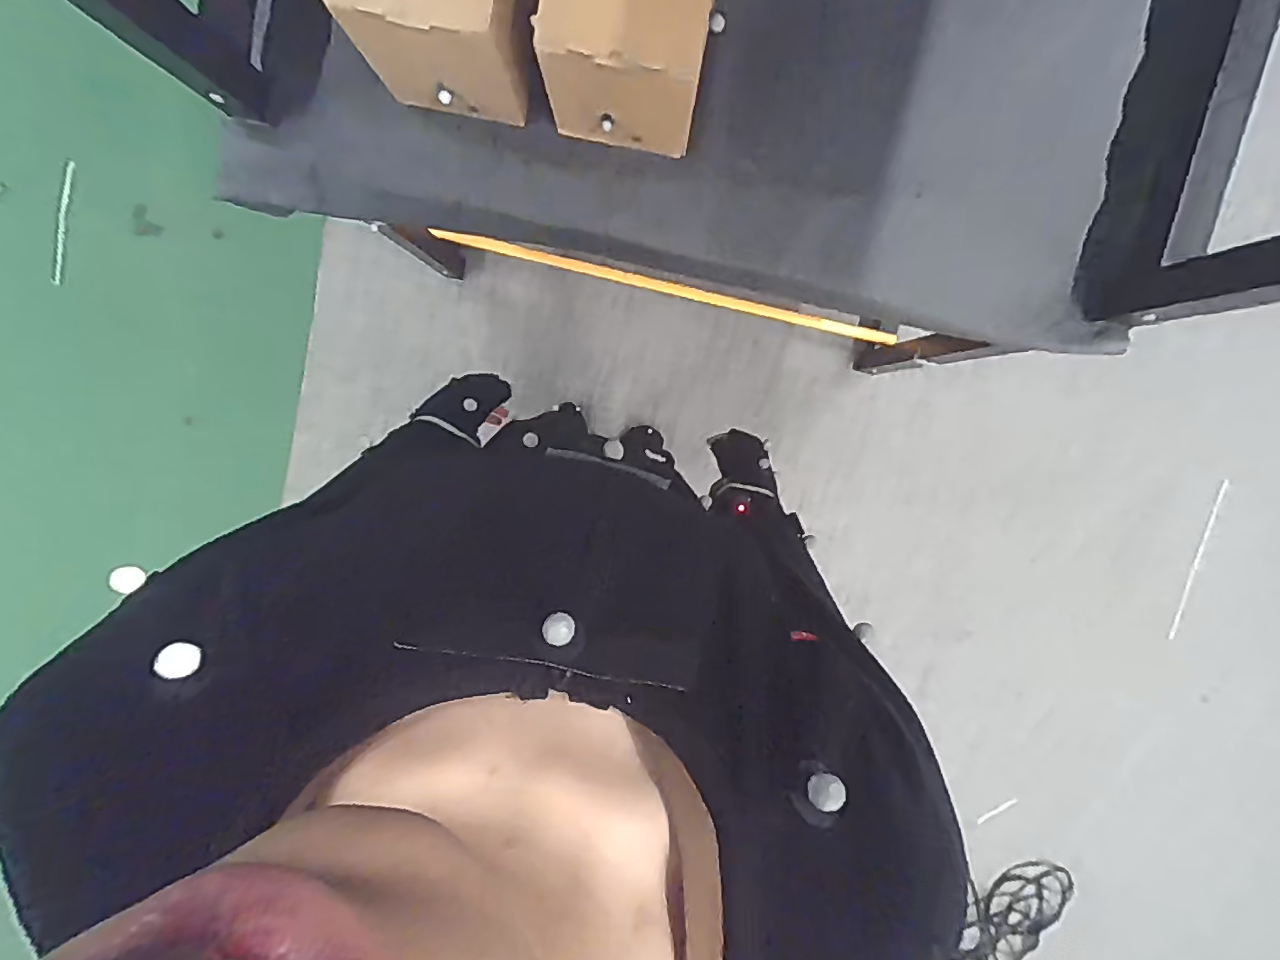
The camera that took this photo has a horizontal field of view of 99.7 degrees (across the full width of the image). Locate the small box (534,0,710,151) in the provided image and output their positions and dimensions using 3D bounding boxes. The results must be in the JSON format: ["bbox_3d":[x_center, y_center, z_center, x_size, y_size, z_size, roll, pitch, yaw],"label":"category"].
[{"bbox_3d":[-0.010,-0.510,0.602,0.168,0.176,0.179,11,97,-1],"label":"small box"}]

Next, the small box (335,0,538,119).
[{"bbox_3d":[-0.211,-0.544,0.592,0.168,0.176,0.179,10,97,-2],"label":"small box"}]
